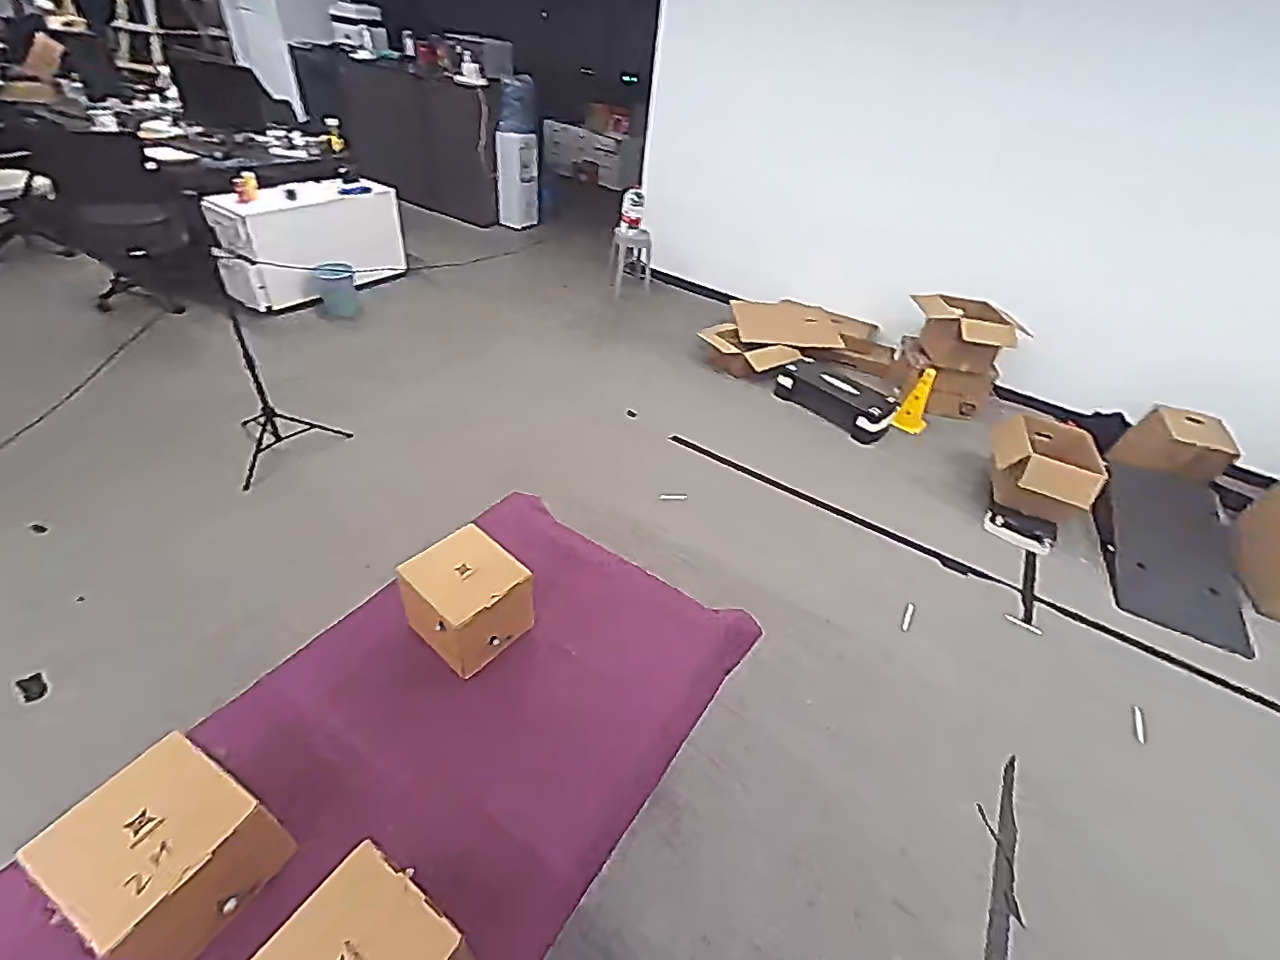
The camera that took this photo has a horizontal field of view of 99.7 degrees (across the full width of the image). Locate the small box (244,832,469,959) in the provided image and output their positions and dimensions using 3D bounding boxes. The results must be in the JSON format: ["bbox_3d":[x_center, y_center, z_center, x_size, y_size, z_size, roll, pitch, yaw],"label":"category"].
[{"bbox_3d":[-0.312,0.555,0.607,0.168,0.176,0.179,27,42,21],"label":"small box"}]

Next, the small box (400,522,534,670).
[{"bbox_3d":[-0.318,0.217,1.013,0.179,0.176,0.168,33,46,24],"label":"small box"}]

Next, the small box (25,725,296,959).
[{"bbox_3d":[-0.580,0.457,0.679,0.179,0.176,0.168,25,42,18],"label":"small box"}]
